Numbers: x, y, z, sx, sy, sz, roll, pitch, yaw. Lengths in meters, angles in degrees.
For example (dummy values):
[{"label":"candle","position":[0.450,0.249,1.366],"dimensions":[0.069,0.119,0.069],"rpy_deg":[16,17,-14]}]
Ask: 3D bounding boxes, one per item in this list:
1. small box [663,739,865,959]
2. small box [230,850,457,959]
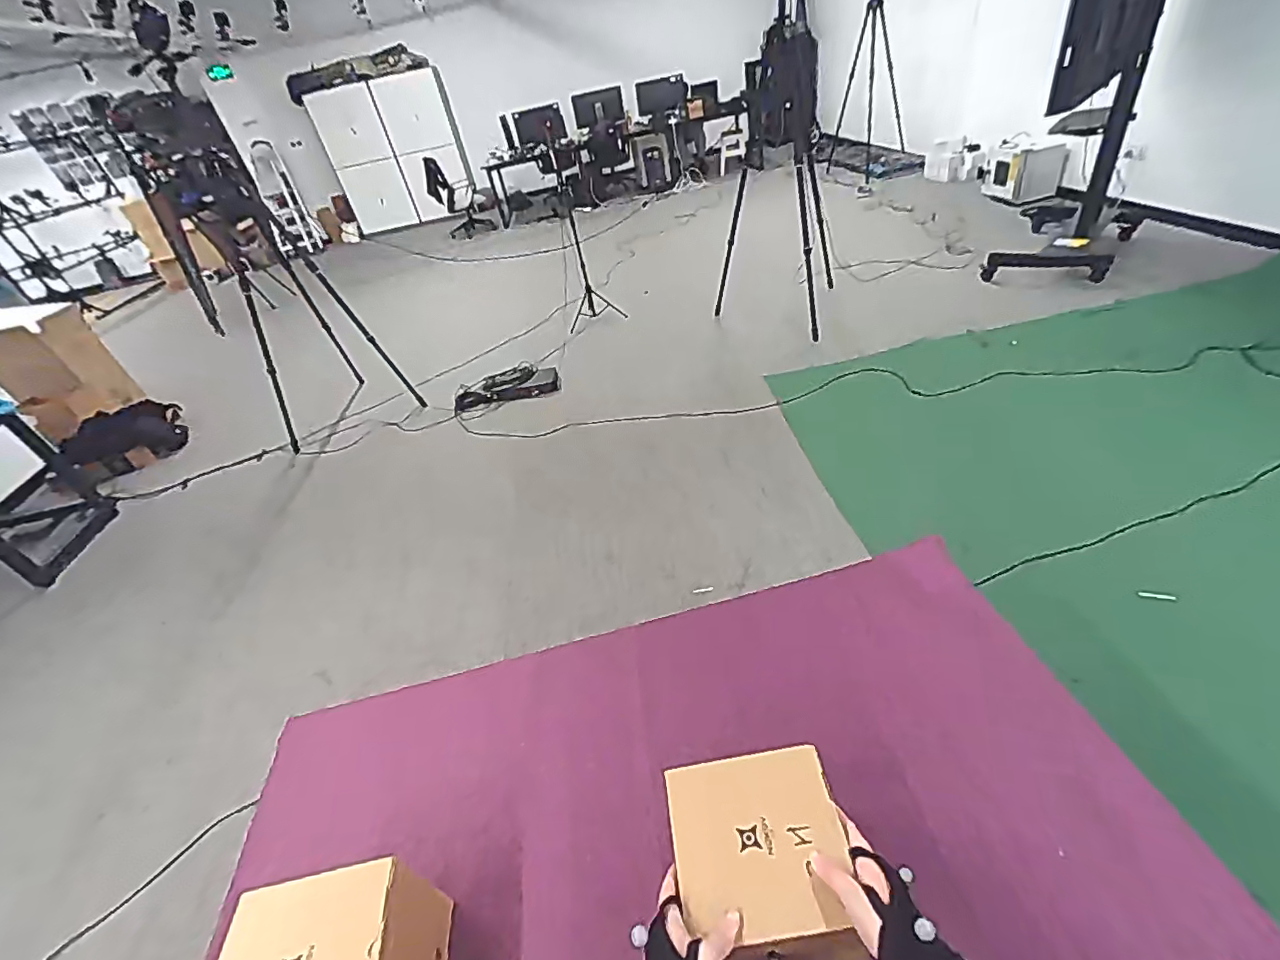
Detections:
[{"label":"small box","position":[0.134,0.424,0.607],"dimensions":[0.179,0.176,0.168],"rpy_deg":[-13,38,4]},{"label":"small box","position":[-0.327,0.551,0.599],"dimensions":[0.179,0.176,0.168],"rpy_deg":[-14,38,0]}]
